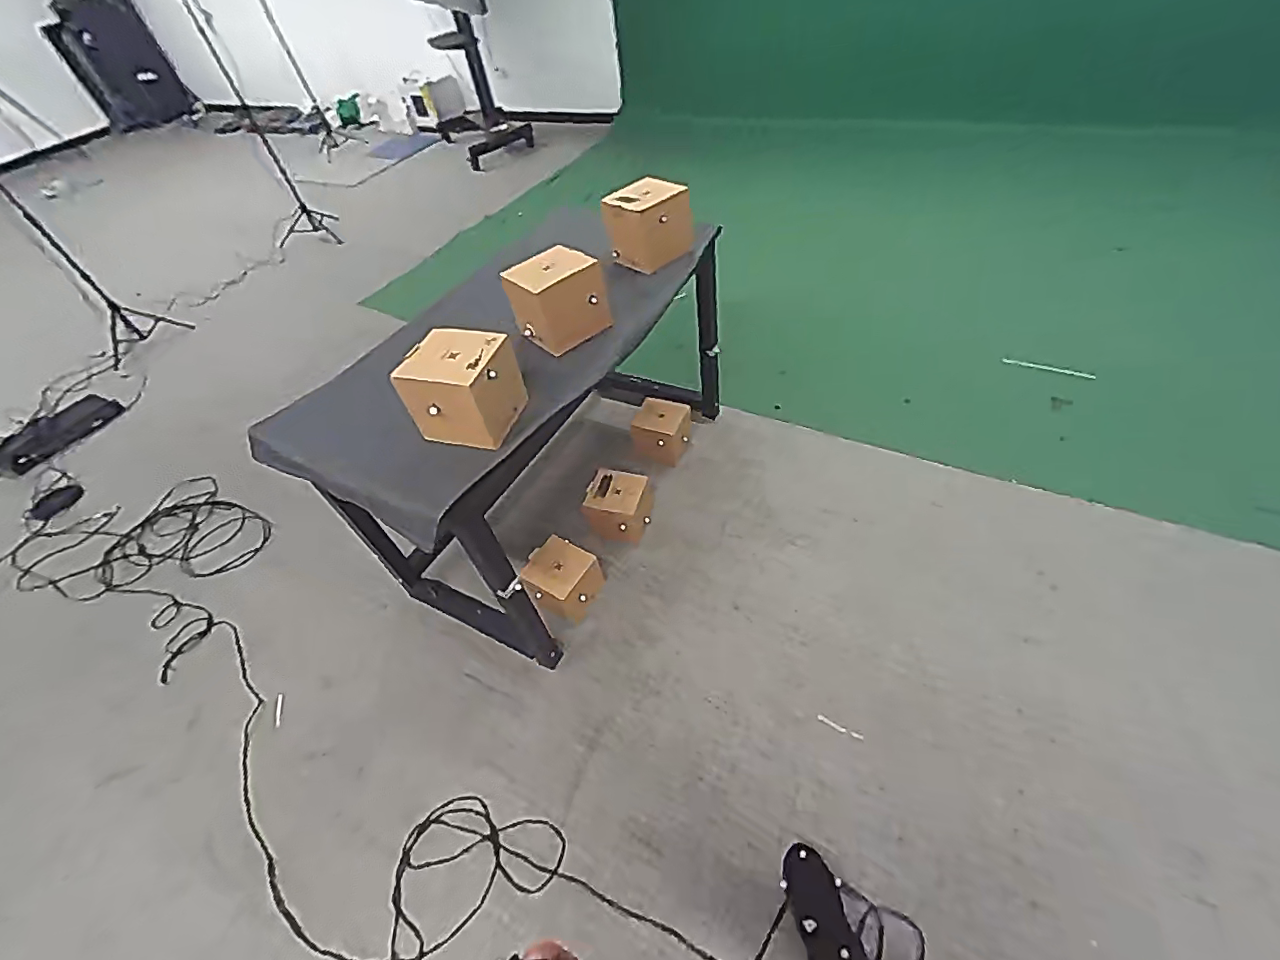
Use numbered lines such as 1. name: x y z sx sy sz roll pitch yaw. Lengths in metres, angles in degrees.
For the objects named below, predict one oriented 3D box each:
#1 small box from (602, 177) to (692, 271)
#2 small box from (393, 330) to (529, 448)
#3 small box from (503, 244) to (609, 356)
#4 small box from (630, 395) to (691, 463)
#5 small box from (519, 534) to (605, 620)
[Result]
1. small box: 0.026 -0.699 1.480 0.179 0.176 0.168 -36 51 -19
2. small box: -0.353 -0.184 1.101 0.179 0.176 0.168 8 51 16
3. small box: -0.191 -0.428 1.288 0.179 0.176 0.168 -38 50 -20
4. small box: 0.084 -0.184 2.000 0.179 0.176 0.168 15 53 21
5. small box: -0.227 0.300 1.636 0.179 0.176 0.168 22 57 26
